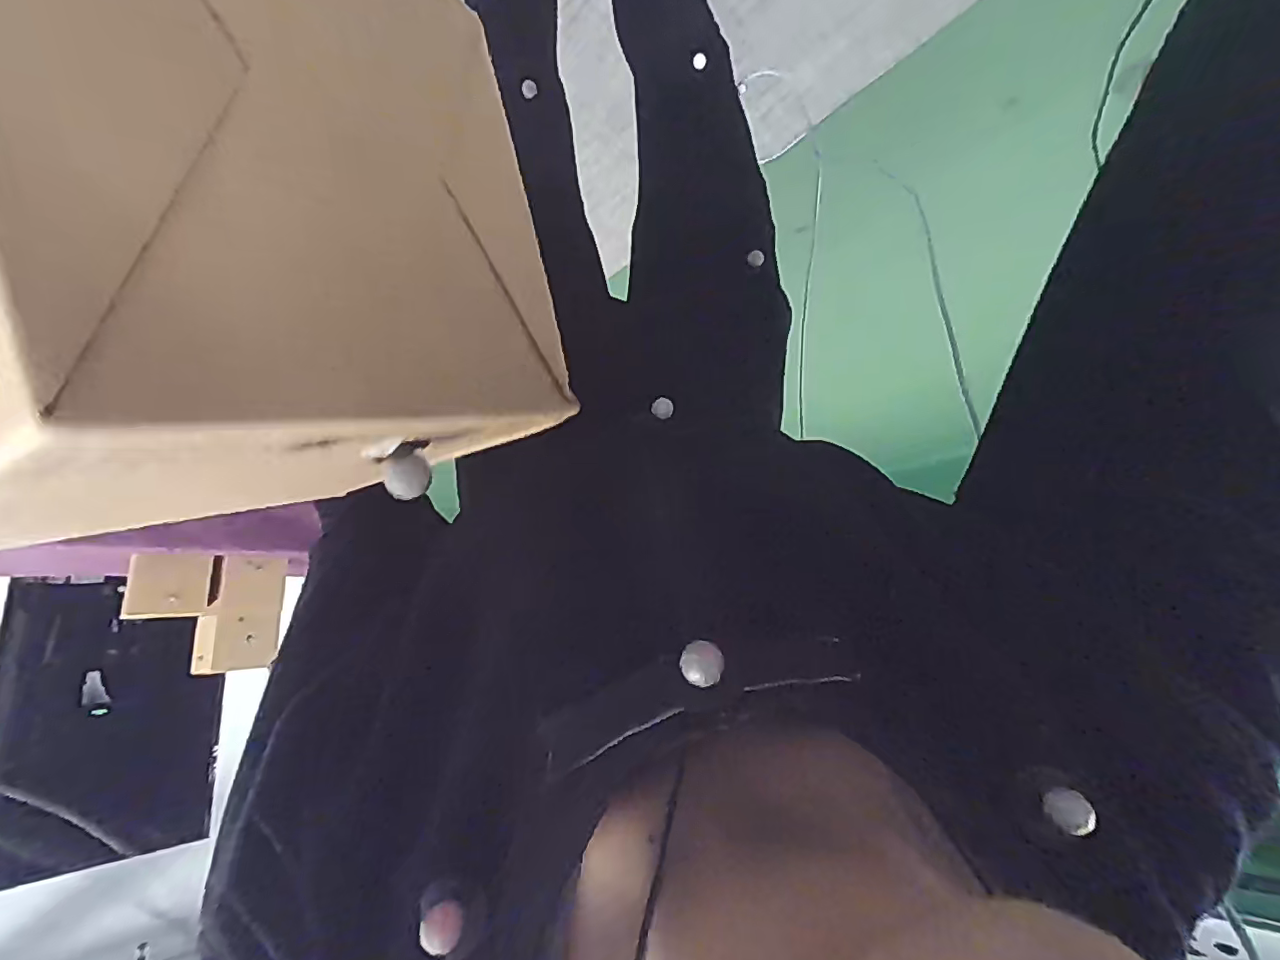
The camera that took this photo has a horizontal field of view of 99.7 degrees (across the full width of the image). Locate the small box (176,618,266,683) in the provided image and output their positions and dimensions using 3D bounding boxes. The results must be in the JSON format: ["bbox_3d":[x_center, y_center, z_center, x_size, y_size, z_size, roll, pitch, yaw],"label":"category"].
[{"bbox_3d":[-1.236,0.499,1.599,0.179,0.176,0.168,-15,161,34],"label":"small box"}]
